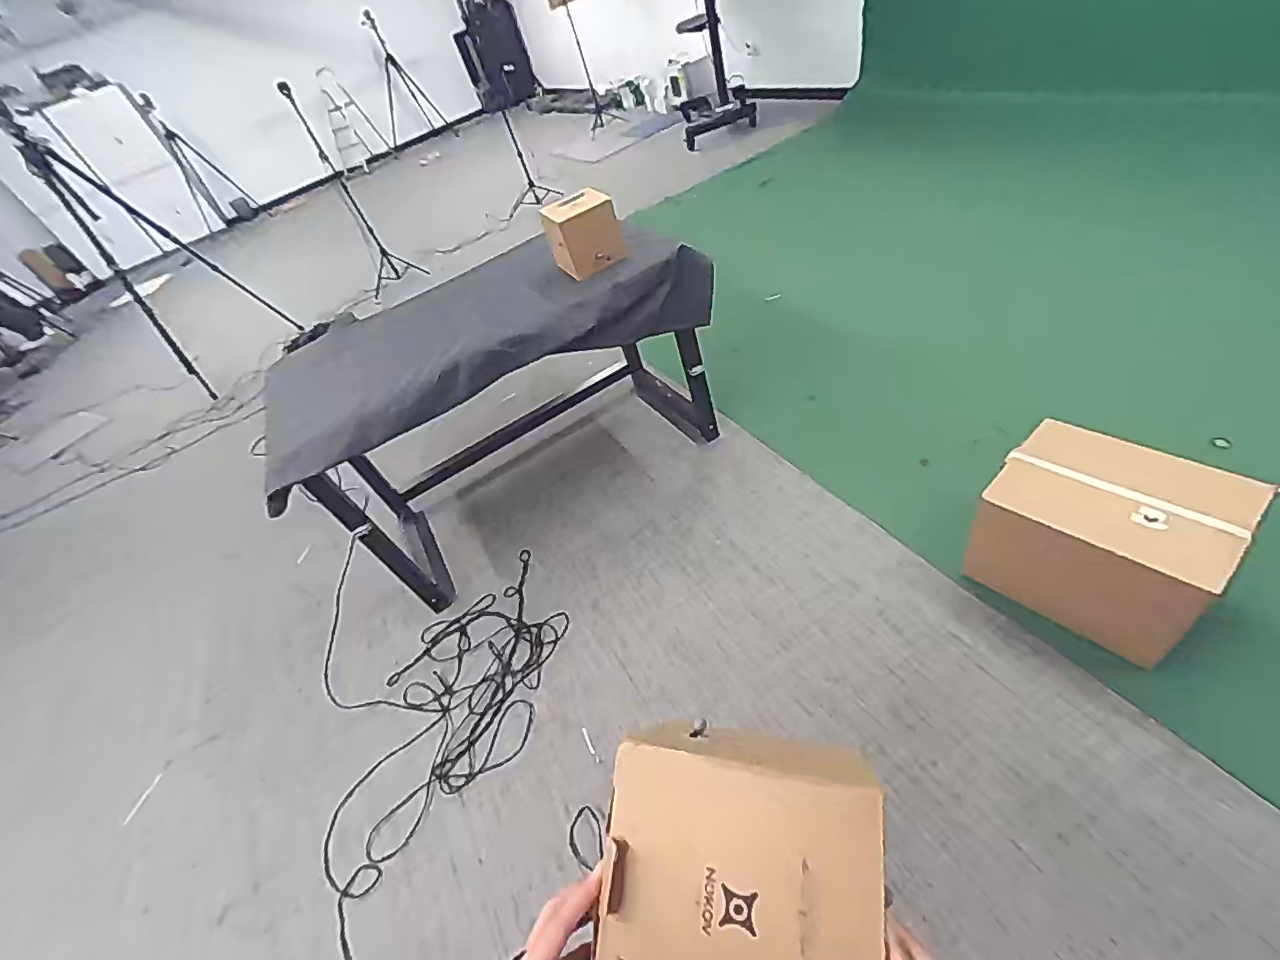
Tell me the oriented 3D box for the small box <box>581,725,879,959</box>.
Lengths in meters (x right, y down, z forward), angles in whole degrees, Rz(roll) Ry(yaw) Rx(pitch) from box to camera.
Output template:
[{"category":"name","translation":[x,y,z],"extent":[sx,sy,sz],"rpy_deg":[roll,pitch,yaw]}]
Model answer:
[{"category":"small box","translation":[0.073,0.285,0.401],"extent":[0.179,0.176,0.168],"rpy_deg":[1,72,16]}]
